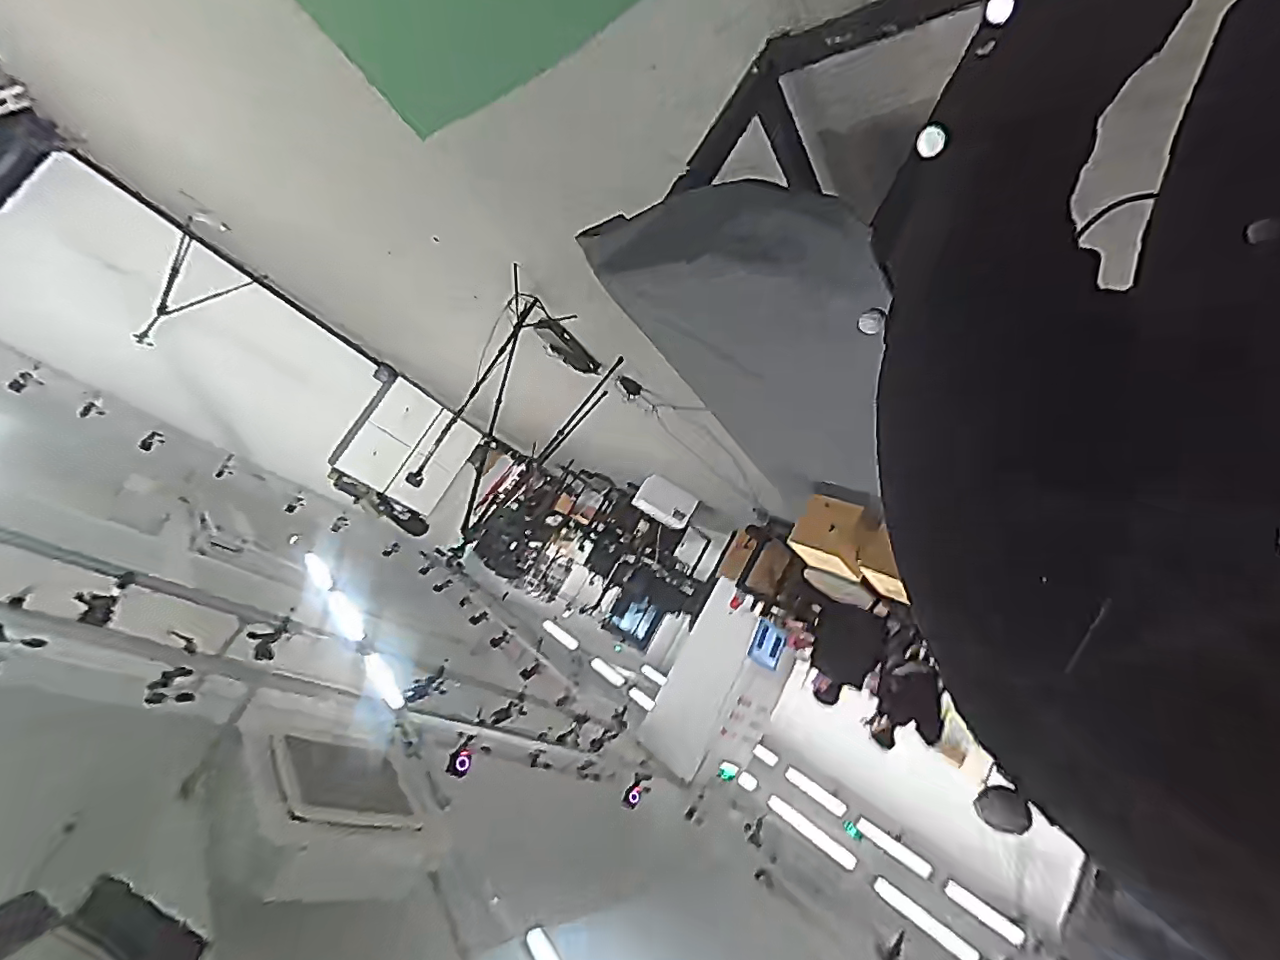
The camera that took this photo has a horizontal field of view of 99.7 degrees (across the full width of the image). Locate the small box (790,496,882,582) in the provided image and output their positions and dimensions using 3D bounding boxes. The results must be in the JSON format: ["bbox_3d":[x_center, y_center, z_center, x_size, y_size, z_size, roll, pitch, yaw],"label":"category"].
[{"bbox_3d":[0.567,0.165,1.557,0.168,0.176,0.179,17,163,48],"label":"small box"}]
